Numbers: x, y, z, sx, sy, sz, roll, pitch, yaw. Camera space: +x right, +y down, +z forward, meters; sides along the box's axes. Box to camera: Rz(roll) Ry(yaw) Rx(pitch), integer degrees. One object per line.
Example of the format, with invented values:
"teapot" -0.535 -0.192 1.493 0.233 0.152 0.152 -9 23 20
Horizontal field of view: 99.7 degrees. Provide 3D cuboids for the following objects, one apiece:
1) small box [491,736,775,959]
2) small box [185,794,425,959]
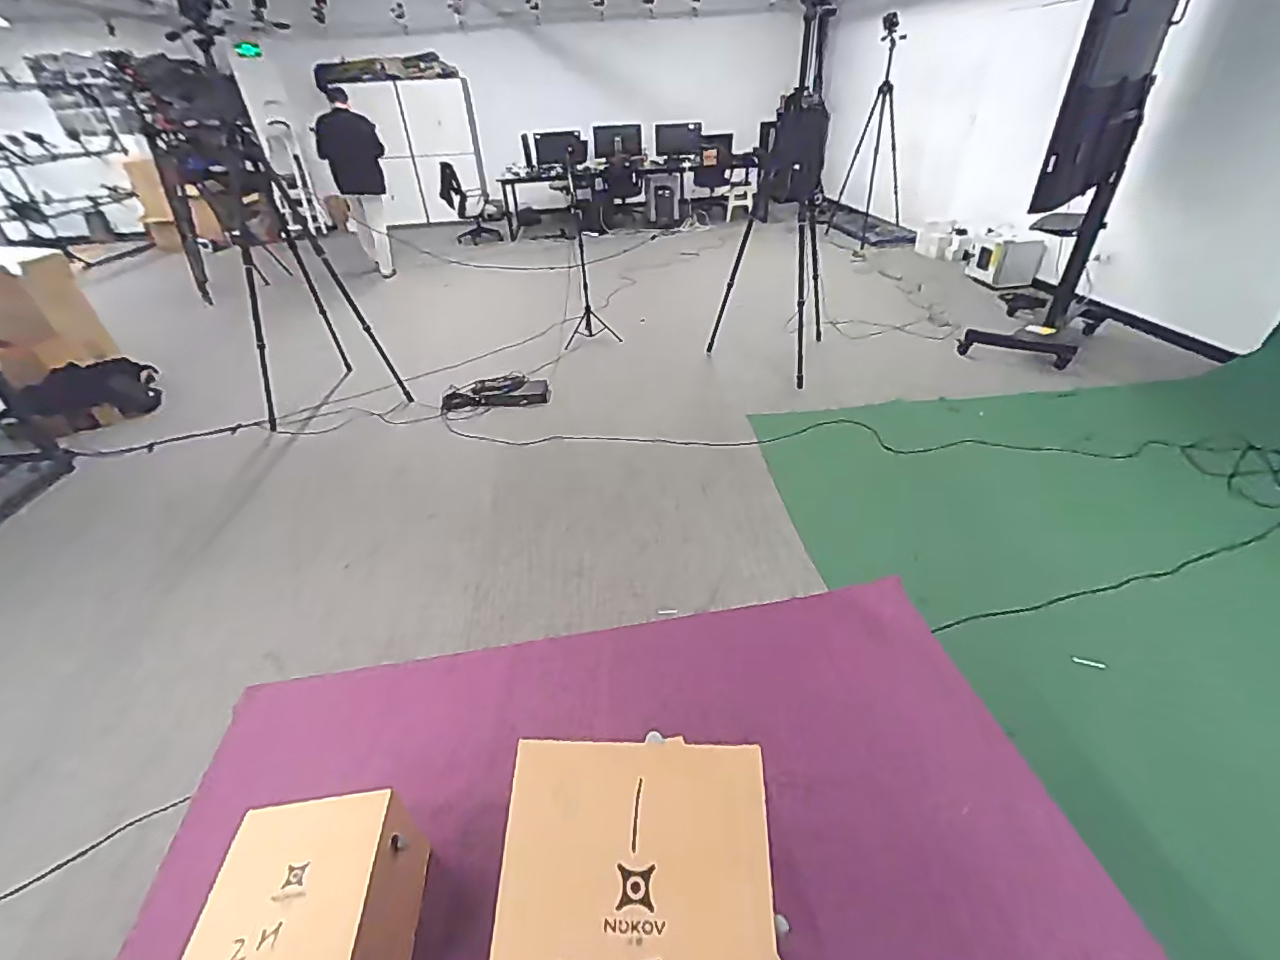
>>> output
"small box" 0.002 0.291 0.389 0.168 0.176 0.179 0 58 3
"small box" -0.355 0.492 0.605 0.168 0.176 0.179 -7 35 -4
